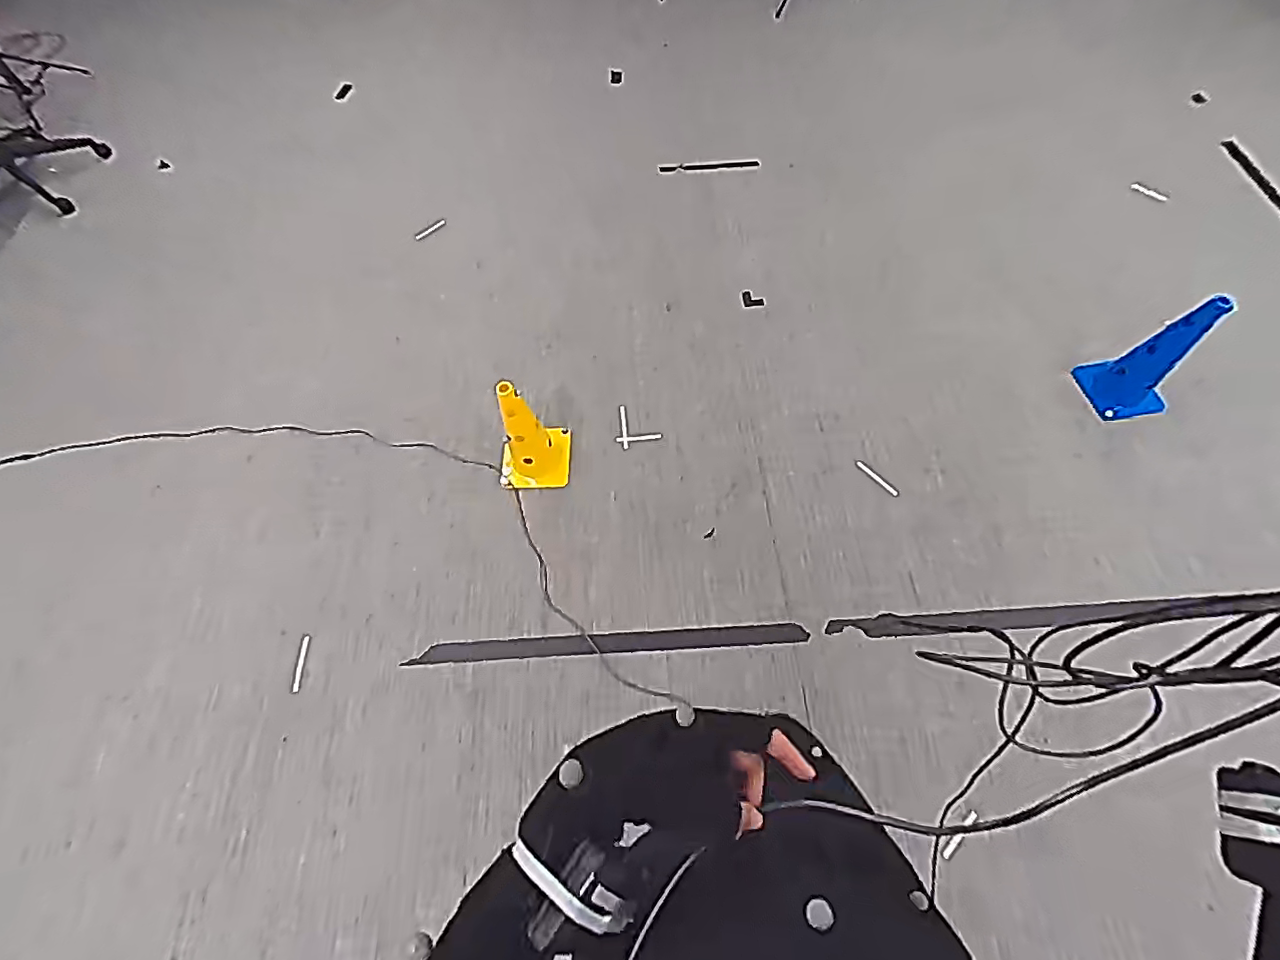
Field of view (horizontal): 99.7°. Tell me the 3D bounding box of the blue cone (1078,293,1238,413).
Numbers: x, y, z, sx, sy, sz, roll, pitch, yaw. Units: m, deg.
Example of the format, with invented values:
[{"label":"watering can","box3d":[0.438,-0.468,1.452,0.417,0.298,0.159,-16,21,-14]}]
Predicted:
[{"label":"blue cone","box3d":[1.421,-0.363,1.463,0.193,0.380,0.192,-9,64,-1]}]
